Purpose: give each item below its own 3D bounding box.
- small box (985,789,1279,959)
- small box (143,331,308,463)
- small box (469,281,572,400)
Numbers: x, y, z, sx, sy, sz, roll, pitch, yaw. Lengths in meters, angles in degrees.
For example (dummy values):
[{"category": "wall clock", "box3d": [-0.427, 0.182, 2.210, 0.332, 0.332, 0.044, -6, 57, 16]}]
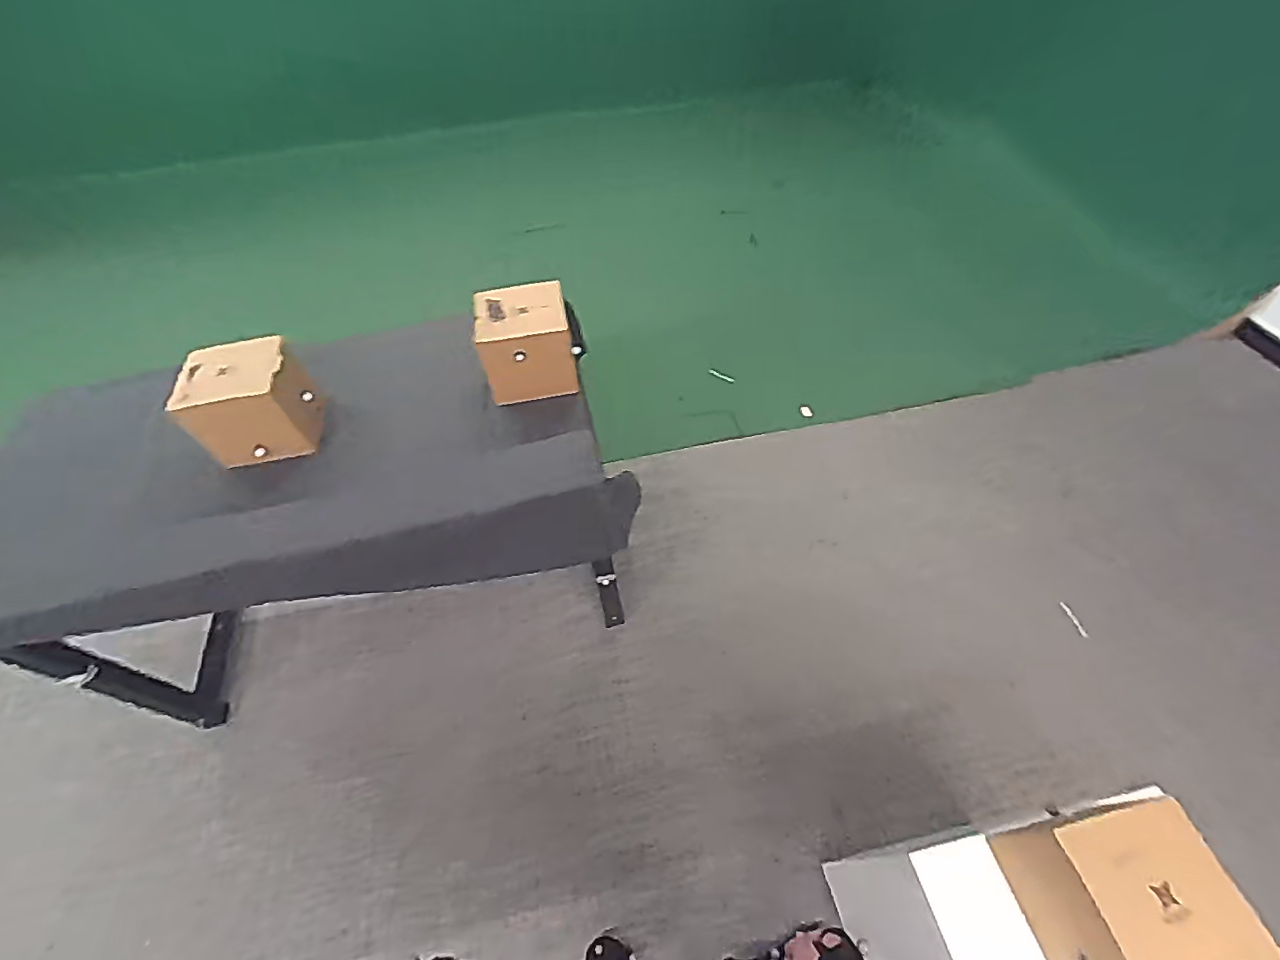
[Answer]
[{"category": "small box", "box3d": [0.586, 0.511, 0.671, 0.168, 0.176, 0.179, -11, 53, -10]}, {"category": "small box", "box3d": [-0.758, -0.154, 1.017, 0.179, 0.176, 0.168, -10, 53, -8]}, {"category": "small box", "box3d": [-0.242, -0.281, 1.110, 0.179, 0.176, 0.168, -9, 53, -7]}]
